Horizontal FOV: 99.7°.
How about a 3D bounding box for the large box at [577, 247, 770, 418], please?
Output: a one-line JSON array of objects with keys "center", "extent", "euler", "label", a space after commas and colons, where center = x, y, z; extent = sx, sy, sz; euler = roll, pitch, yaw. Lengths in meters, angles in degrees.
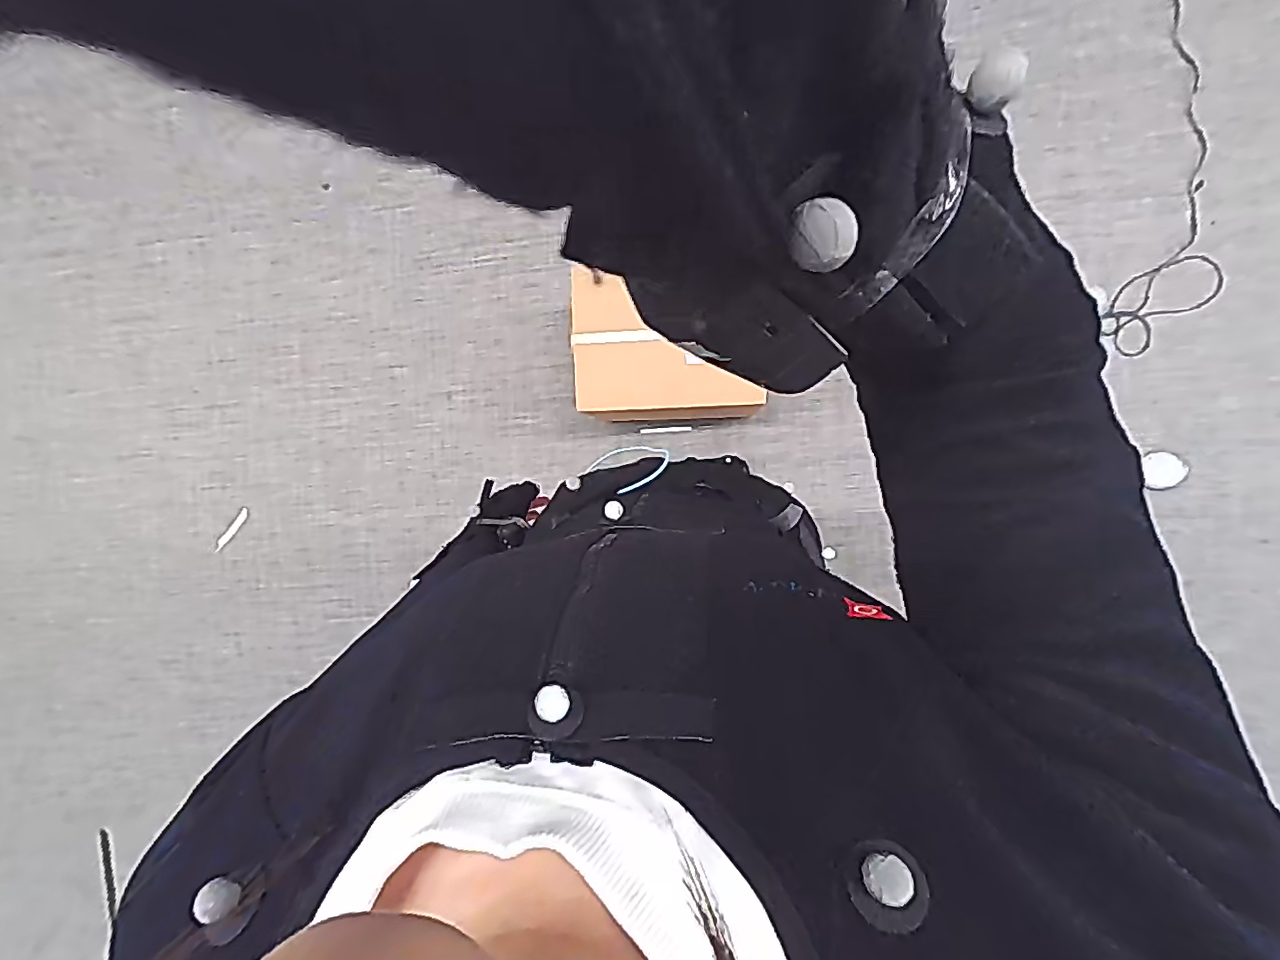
[{"center": [0.082, -0.324, 1.285], "extent": [0.408, 0.320, 0.320], "euler": [-2, 93, 6], "label": "large box"}]
